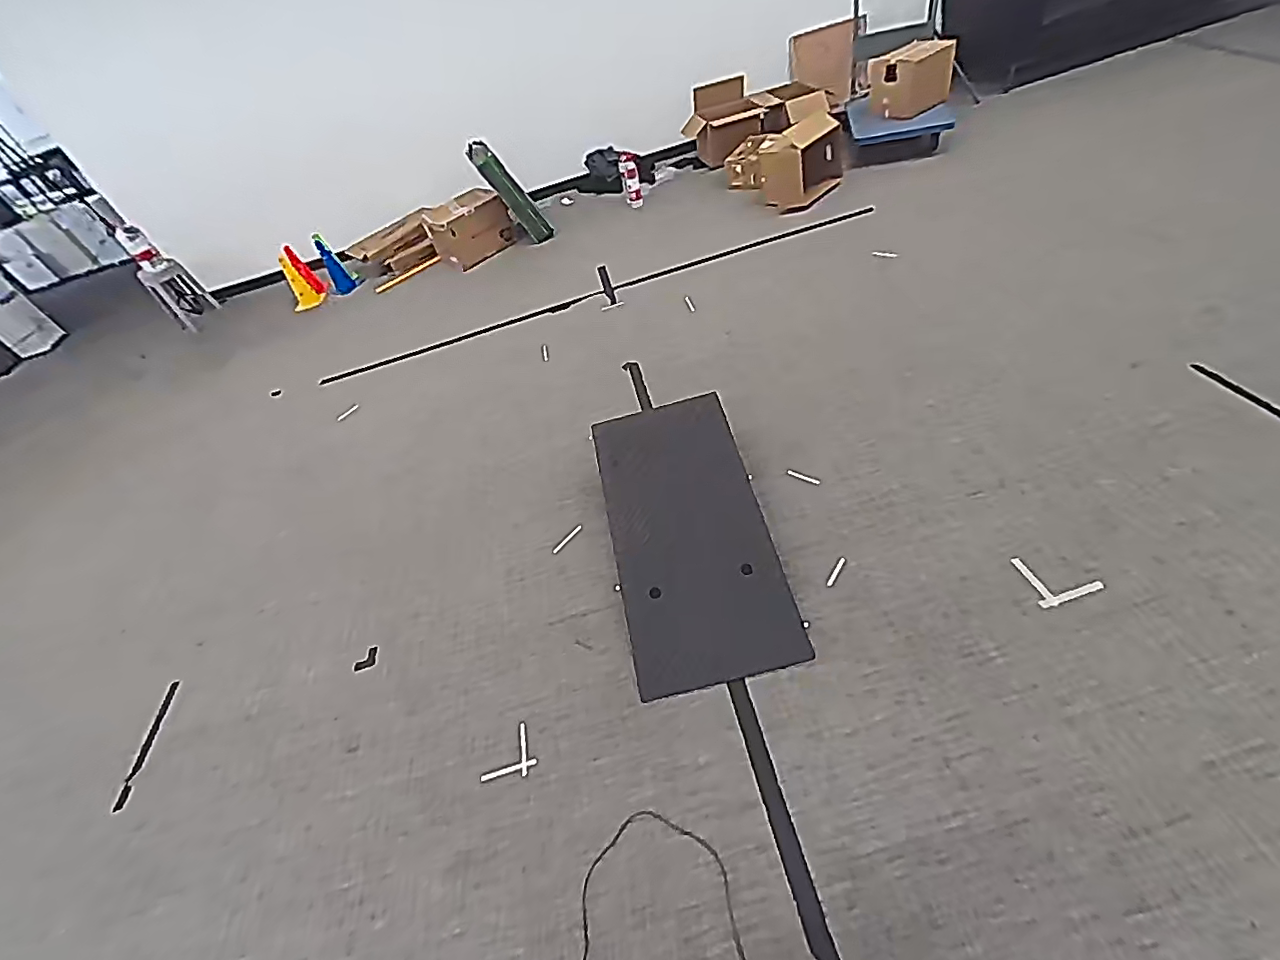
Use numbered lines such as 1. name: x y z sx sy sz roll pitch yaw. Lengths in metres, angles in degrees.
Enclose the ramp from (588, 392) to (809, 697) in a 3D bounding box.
1. ramp: 0.138 0.136 1.754 0.509 0.206 0.991 -16 46 1
